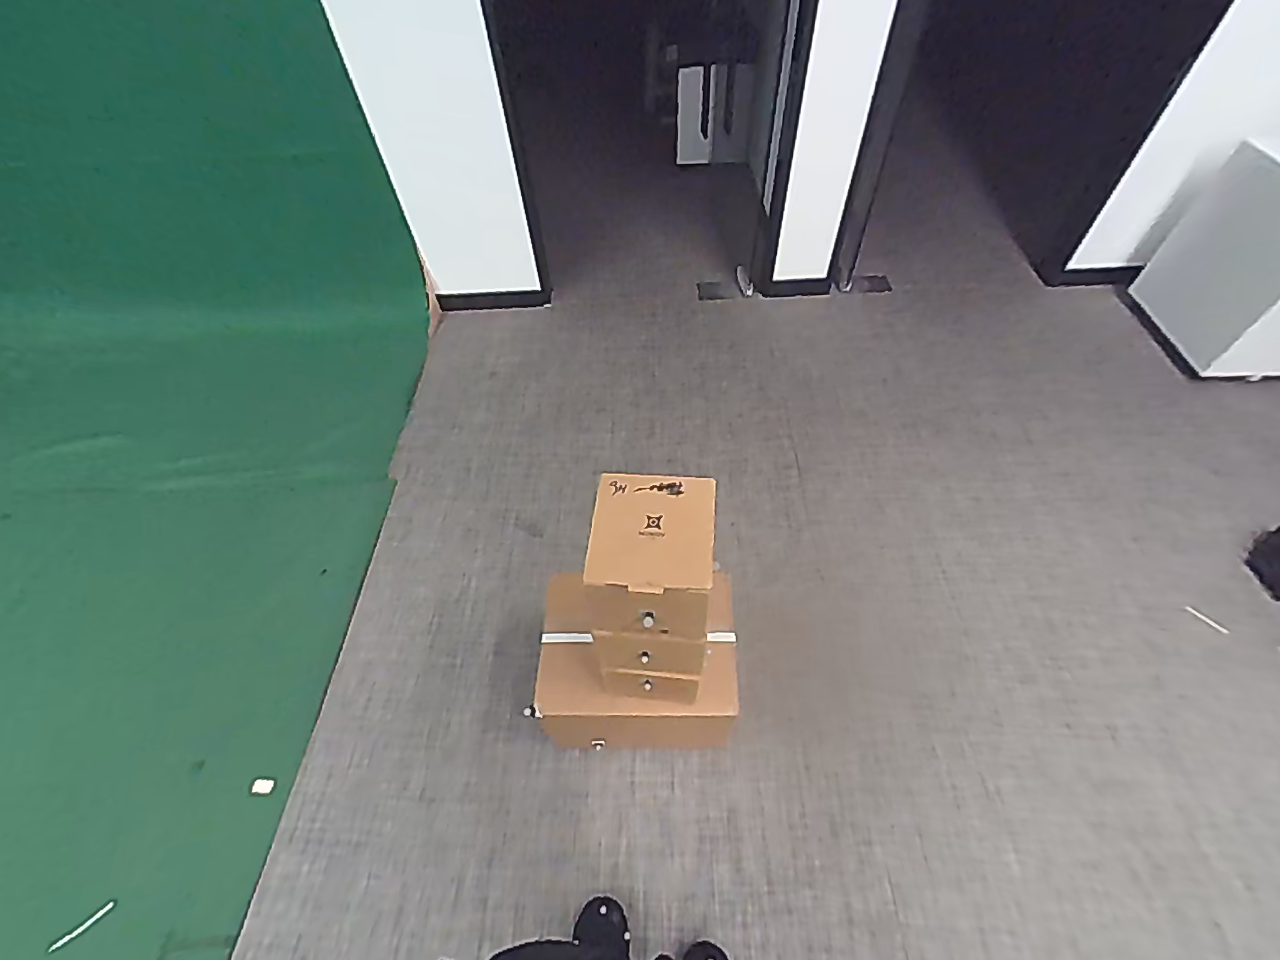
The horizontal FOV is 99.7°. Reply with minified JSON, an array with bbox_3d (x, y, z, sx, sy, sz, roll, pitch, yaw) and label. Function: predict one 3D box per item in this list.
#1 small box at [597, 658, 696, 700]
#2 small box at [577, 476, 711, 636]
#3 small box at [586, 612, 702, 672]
[{"bbox_3d":[0.021,0.316,1.047,0.179,0.176,0.168,5,56,5],"label":"small box"},{"bbox_3d":[0.014,0.115,0.789,0.168,0.176,0.179,4,56,6],"label":"small box"},{"bbox_3d":[0.018,0.218,0.917,0.179,0.176,0.168,2,55,7],"label":"small box"}]
